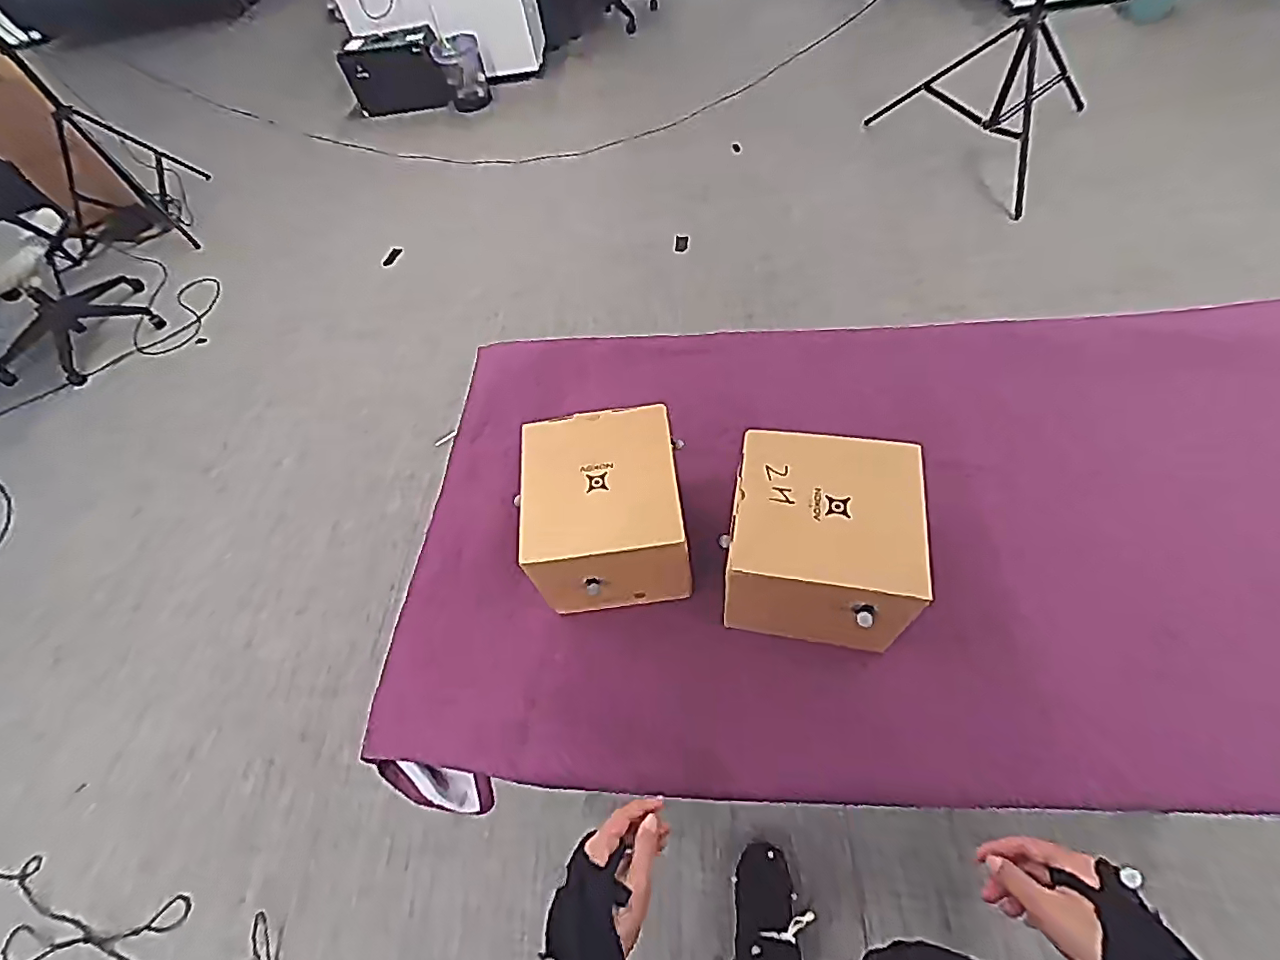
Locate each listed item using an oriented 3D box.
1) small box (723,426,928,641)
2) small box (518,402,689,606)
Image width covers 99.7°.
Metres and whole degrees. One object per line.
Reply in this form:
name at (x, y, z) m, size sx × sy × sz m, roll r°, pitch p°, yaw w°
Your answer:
small box at (0.188, 0.064, 0.586) m, size 0.179 × 0.176 × 0.168 m, roll 6°, pitch 58°, yaw 12°
small box at (-0.037, 0.038, 0.637) m, size 0.168 × 0.176 × 0.179 m, roll -9°, pitch 57°, yaw 3°
